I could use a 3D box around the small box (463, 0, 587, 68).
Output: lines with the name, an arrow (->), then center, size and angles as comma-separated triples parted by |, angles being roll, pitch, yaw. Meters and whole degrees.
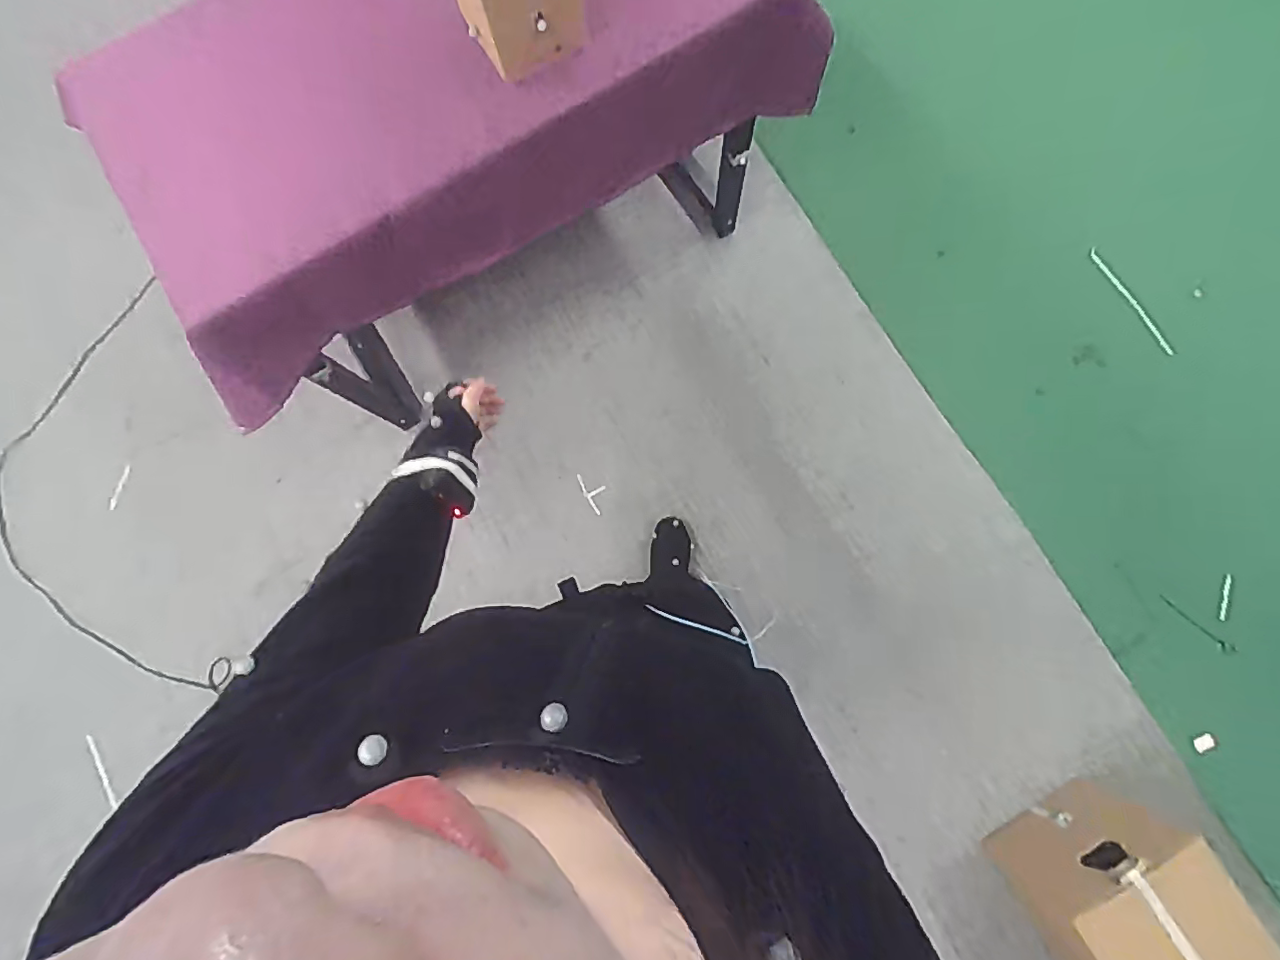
small box -> -0.200, -0.811, 0.864 | 0.168, 0.176, 0.179 | -31, 81, -3
